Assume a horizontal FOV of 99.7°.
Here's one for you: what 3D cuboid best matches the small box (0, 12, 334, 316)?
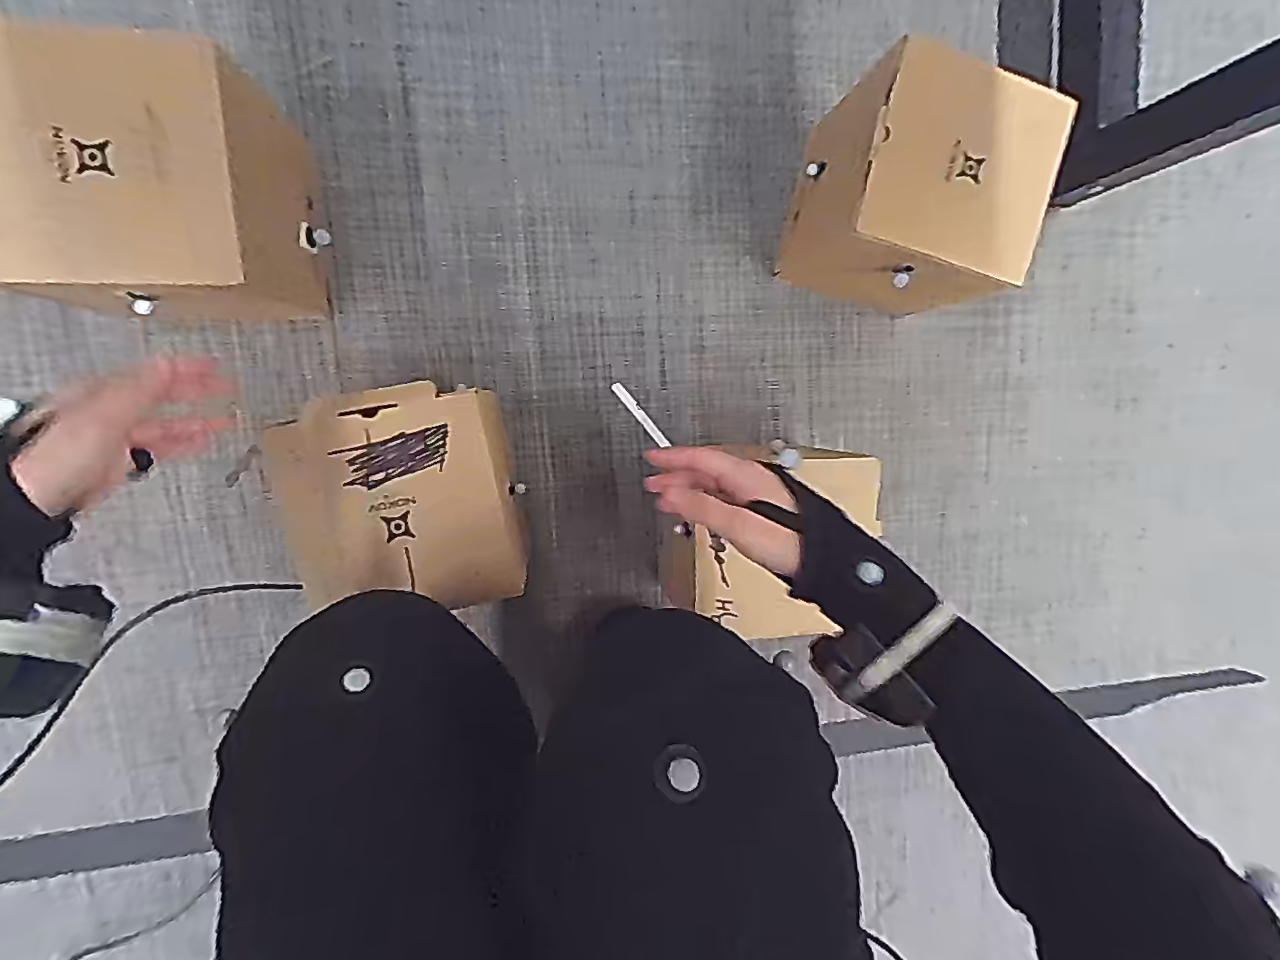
[{"bbox_3d":[-0.381,-0.230,0.442,0.179,0.176,0.168,-2,99,-10],"label":"small box"}]

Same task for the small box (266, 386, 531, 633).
[{"bbox_3d":[-0.201,0.013,0.507,0.168,0.176,0.179,-11,101,-7],"label":"small box"}]

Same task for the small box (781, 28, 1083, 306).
[{"bbox_3d":[0.270,-0.283,0.540,0.179,0.176,0.168,13,96,-10],"label":"small box"}]
